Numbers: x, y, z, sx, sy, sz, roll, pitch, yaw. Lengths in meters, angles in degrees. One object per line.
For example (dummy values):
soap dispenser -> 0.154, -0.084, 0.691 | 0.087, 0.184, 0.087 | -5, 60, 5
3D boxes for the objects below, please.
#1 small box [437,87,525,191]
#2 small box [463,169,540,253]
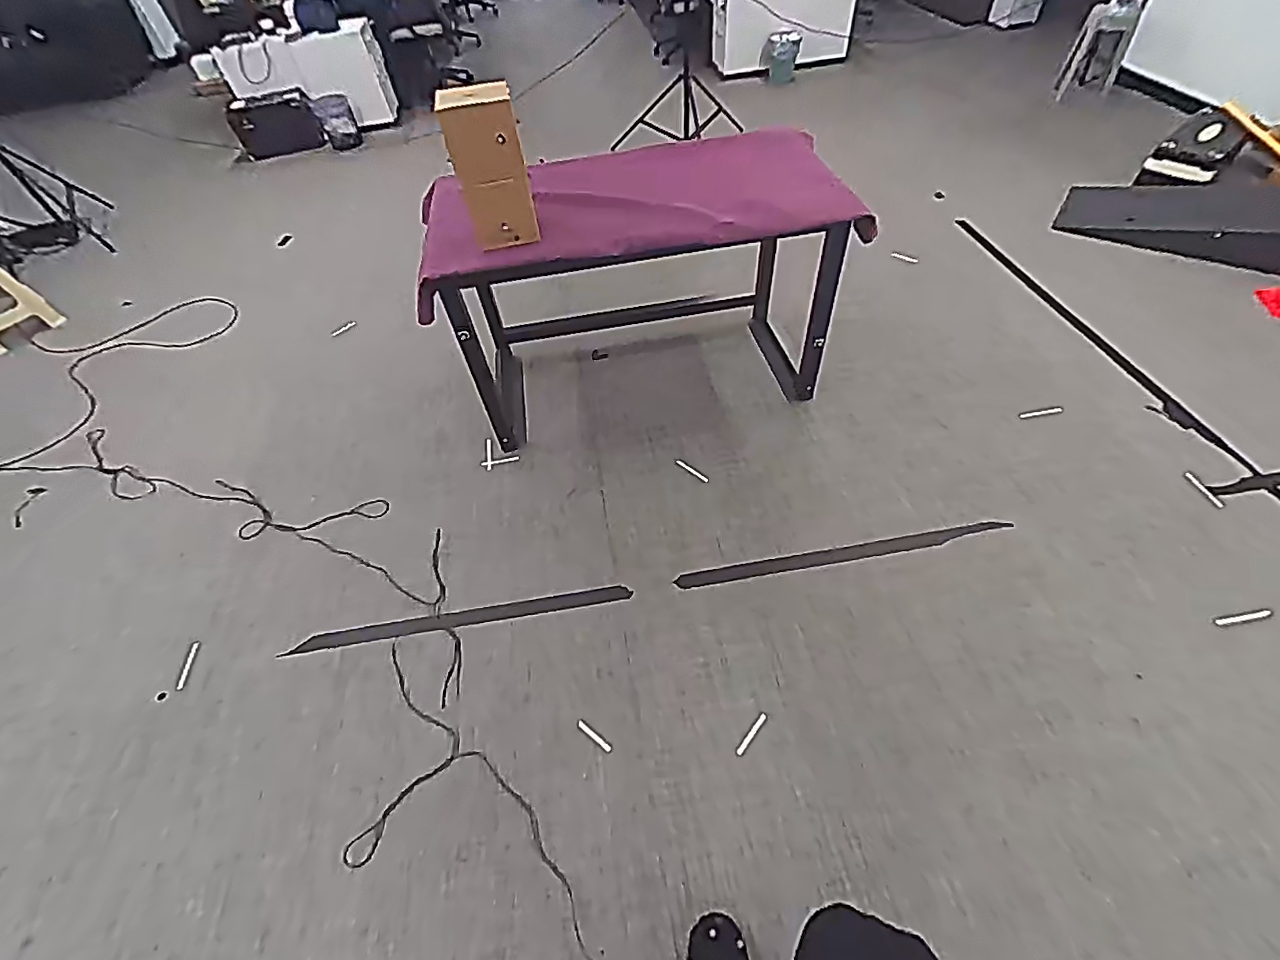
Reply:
small box -> -0.391, -0.852, 1.354 | 0.179, 0.176, 0.168 | -13, 49, -4
small box -> -0.378, -0.750, 1.479 | 0.168, 0.176, 0.179 | -12, 51, -4
